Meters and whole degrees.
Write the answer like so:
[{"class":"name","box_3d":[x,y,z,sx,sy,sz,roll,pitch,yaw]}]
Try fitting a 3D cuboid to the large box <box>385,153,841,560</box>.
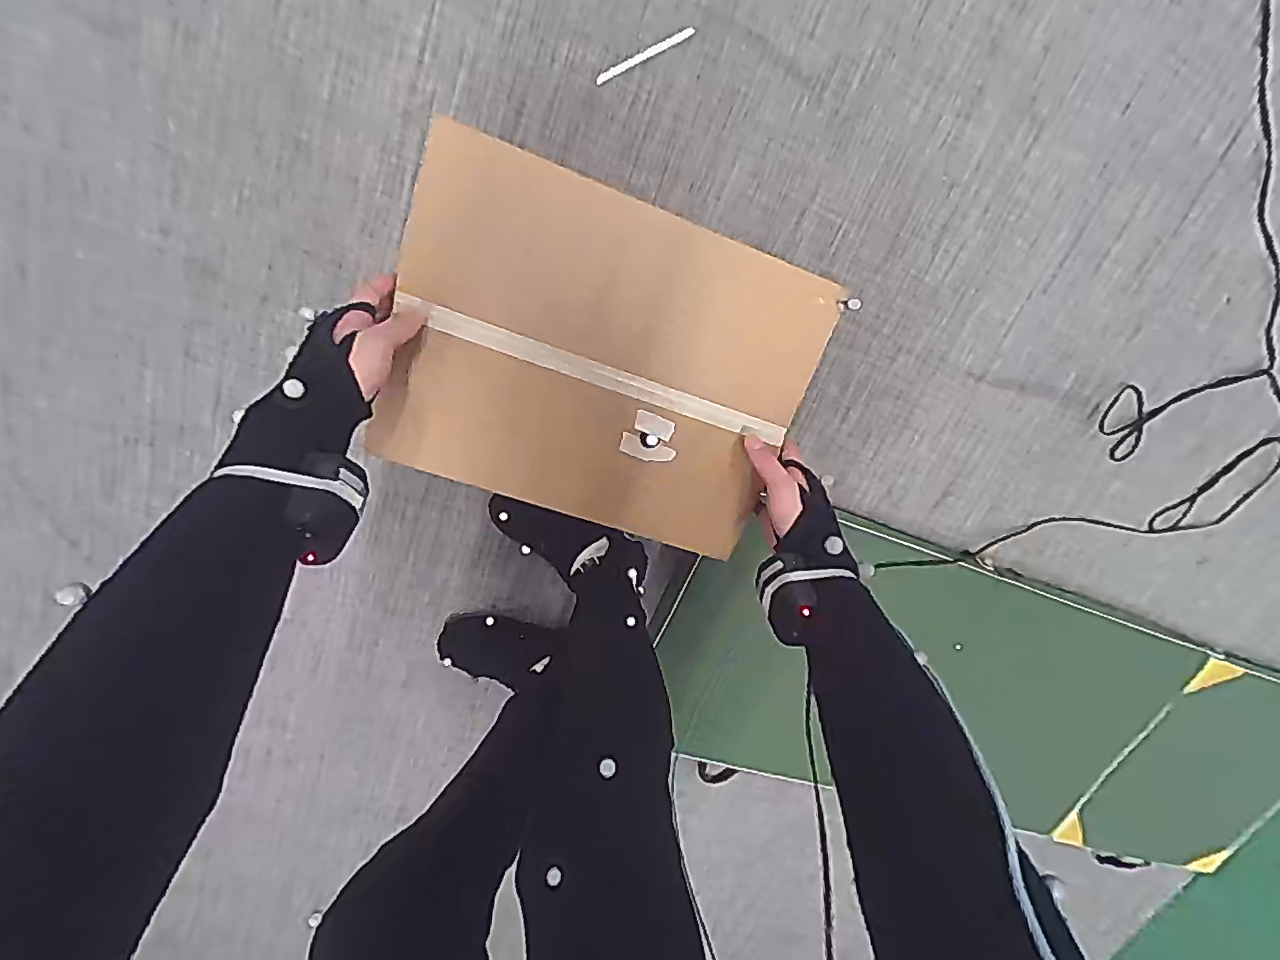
[{"class":"large box","box_3d":[-0.045,-0.144,0.692,0.408,0.320,0.320,18,107,-11]}]
